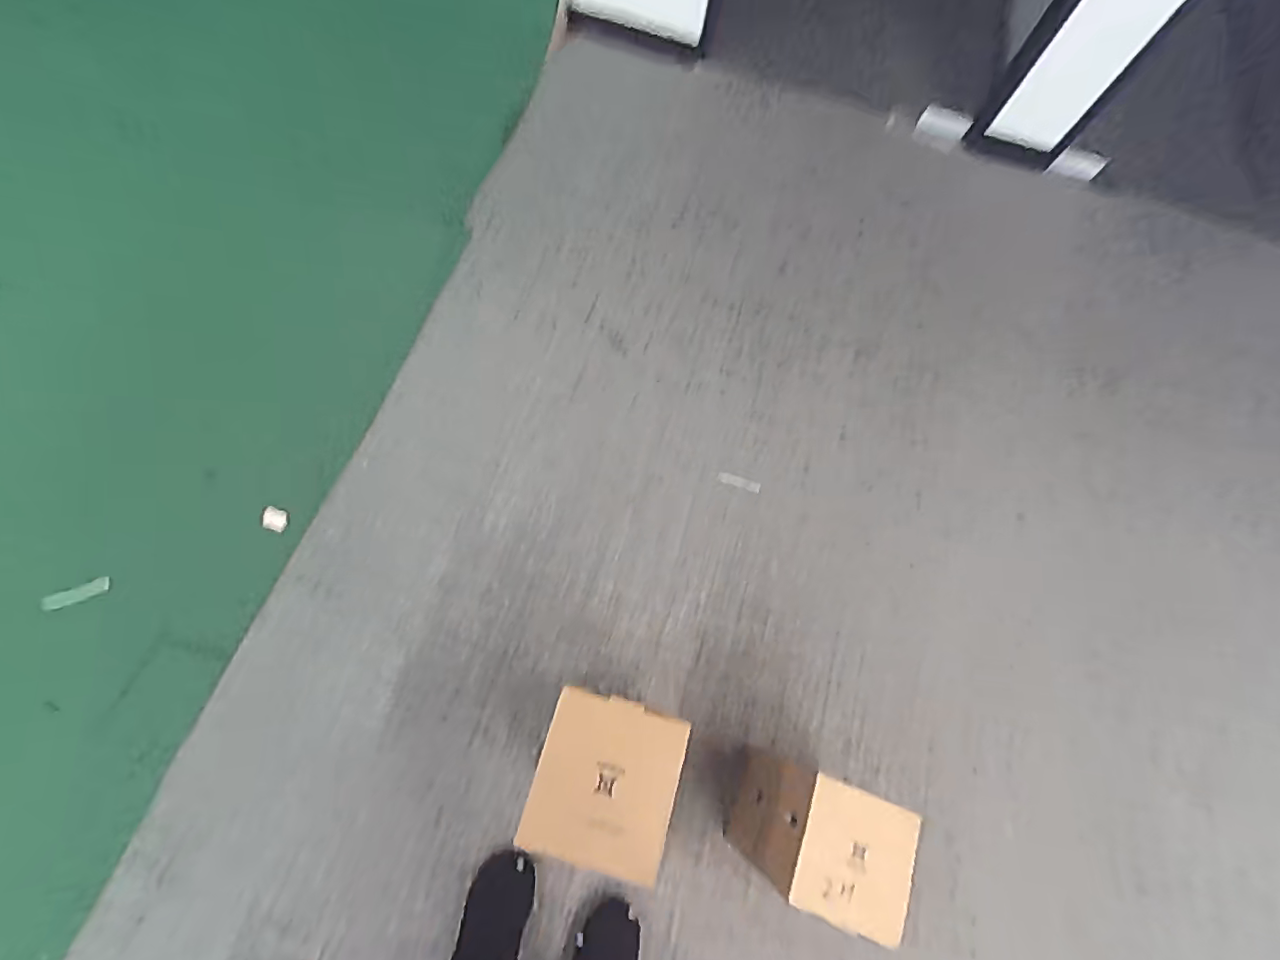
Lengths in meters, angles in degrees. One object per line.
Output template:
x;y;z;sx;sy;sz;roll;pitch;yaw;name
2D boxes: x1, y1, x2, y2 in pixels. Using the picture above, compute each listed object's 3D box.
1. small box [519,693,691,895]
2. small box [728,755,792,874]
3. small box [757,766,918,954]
-0.044;0.387;0.702;0.168;0.176;0.179;16;69;1;small box
0.277;0.634;0.999;0.168;0.176;0.179;24;69;3;small box
0.299;0.574;0.847;0.168;0.176;0.179;22;68;2;small box
